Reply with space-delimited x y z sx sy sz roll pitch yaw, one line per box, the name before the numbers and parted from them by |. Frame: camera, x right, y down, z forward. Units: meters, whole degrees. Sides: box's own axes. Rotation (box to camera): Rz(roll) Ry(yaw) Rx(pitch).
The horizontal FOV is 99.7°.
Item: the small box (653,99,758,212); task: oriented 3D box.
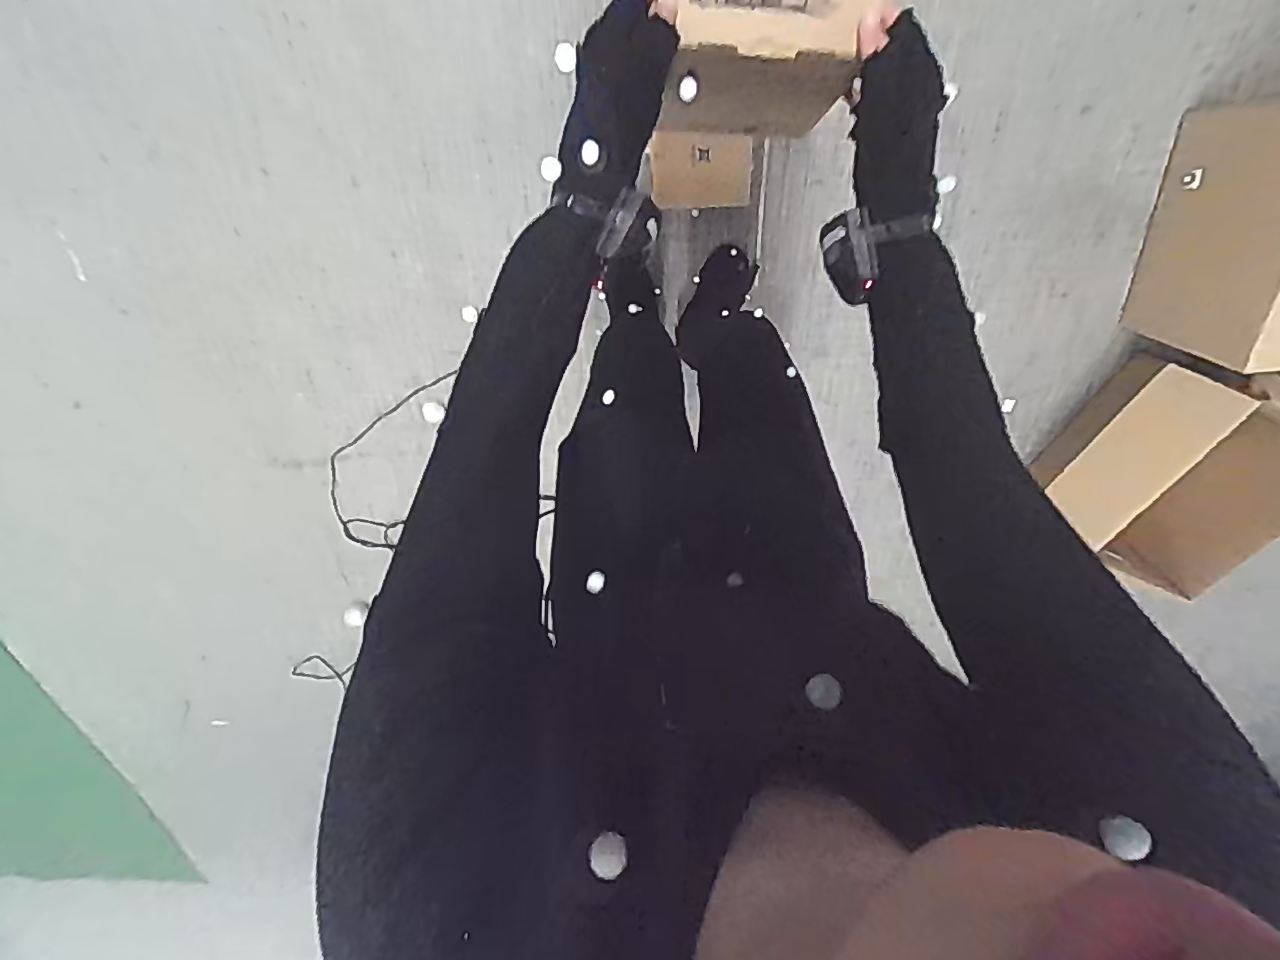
small box | 0.113 -0.596 0.999 0.179 0.176 0.168 -1 120 4
